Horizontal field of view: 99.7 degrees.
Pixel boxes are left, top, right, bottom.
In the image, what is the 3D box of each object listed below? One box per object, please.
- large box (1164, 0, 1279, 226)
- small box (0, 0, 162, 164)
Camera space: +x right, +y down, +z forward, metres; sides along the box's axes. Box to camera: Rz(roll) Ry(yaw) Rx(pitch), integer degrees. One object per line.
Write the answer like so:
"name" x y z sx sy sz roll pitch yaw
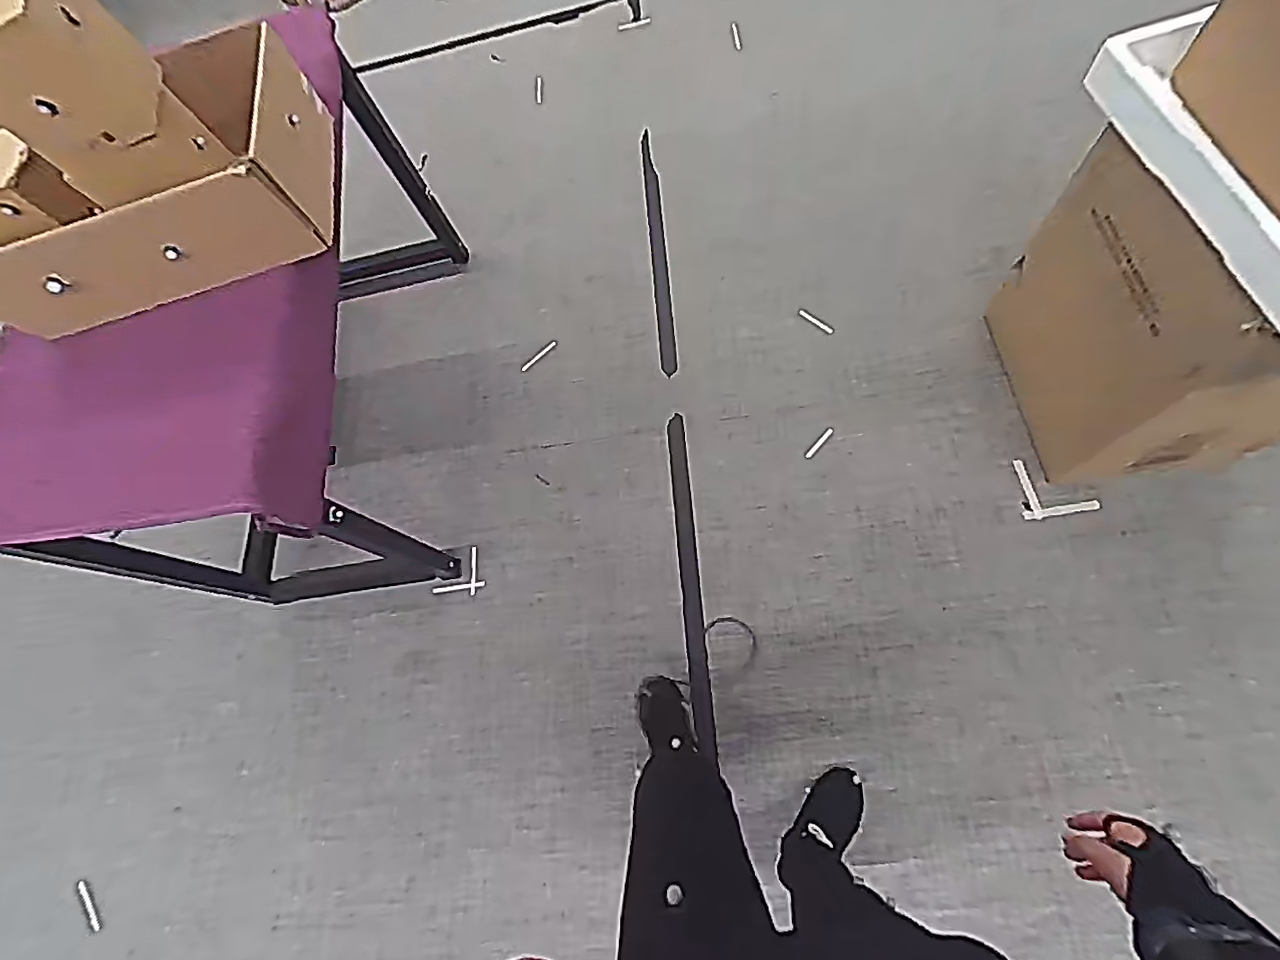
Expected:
"large box" 1.032 -0.575 0.687 0.320 0.320 0.408 -11 66 5
"small box" -0.862 -0.606 0.800 0.168 0.176 0.179 -20 66 4
